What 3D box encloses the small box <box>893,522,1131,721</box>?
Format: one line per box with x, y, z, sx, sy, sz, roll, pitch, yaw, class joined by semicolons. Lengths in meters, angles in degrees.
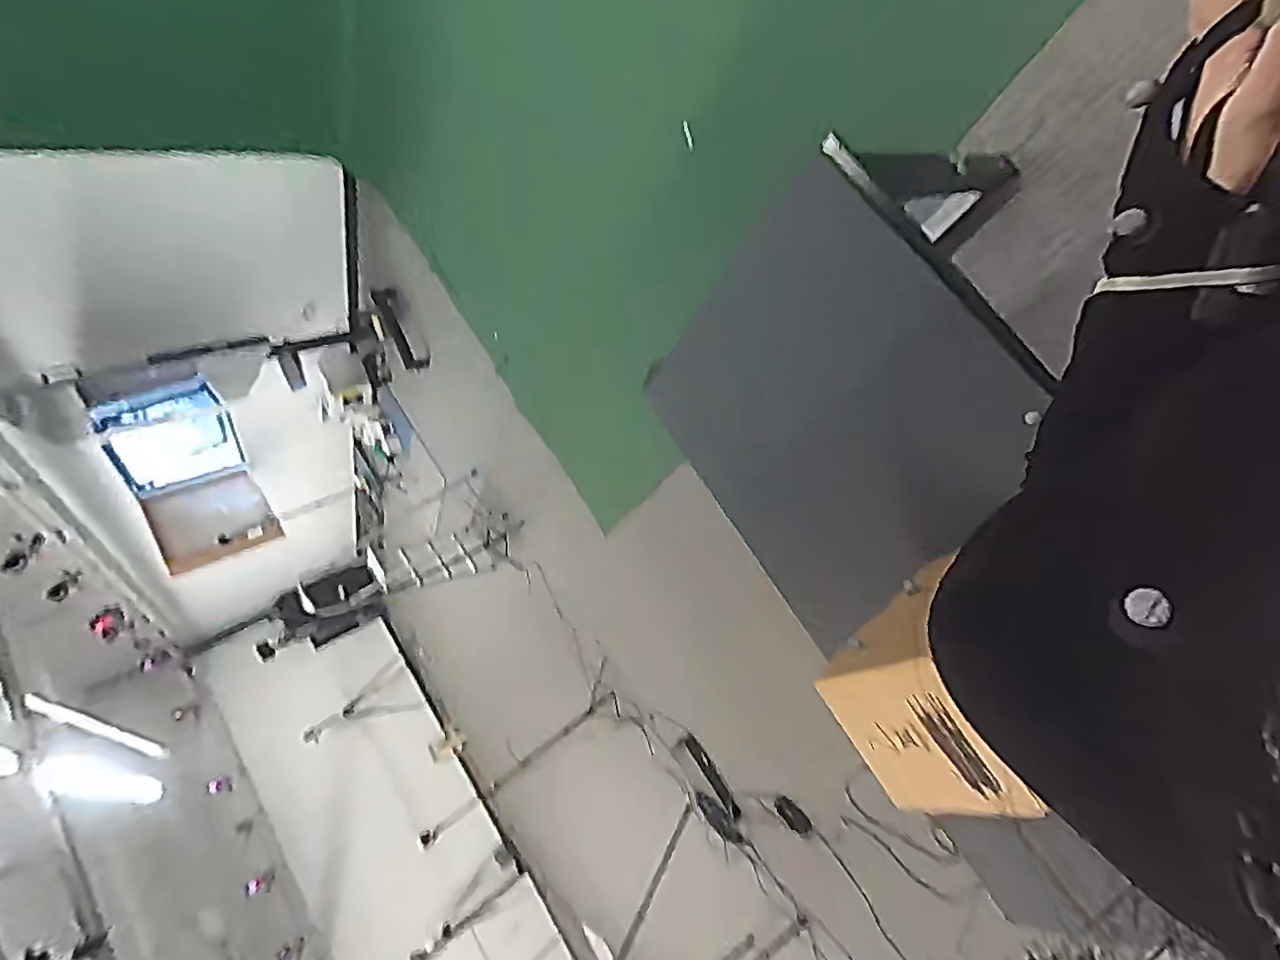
0.485;0.184;0.711;0.168;0.176;0.179;54;143;13;small box
